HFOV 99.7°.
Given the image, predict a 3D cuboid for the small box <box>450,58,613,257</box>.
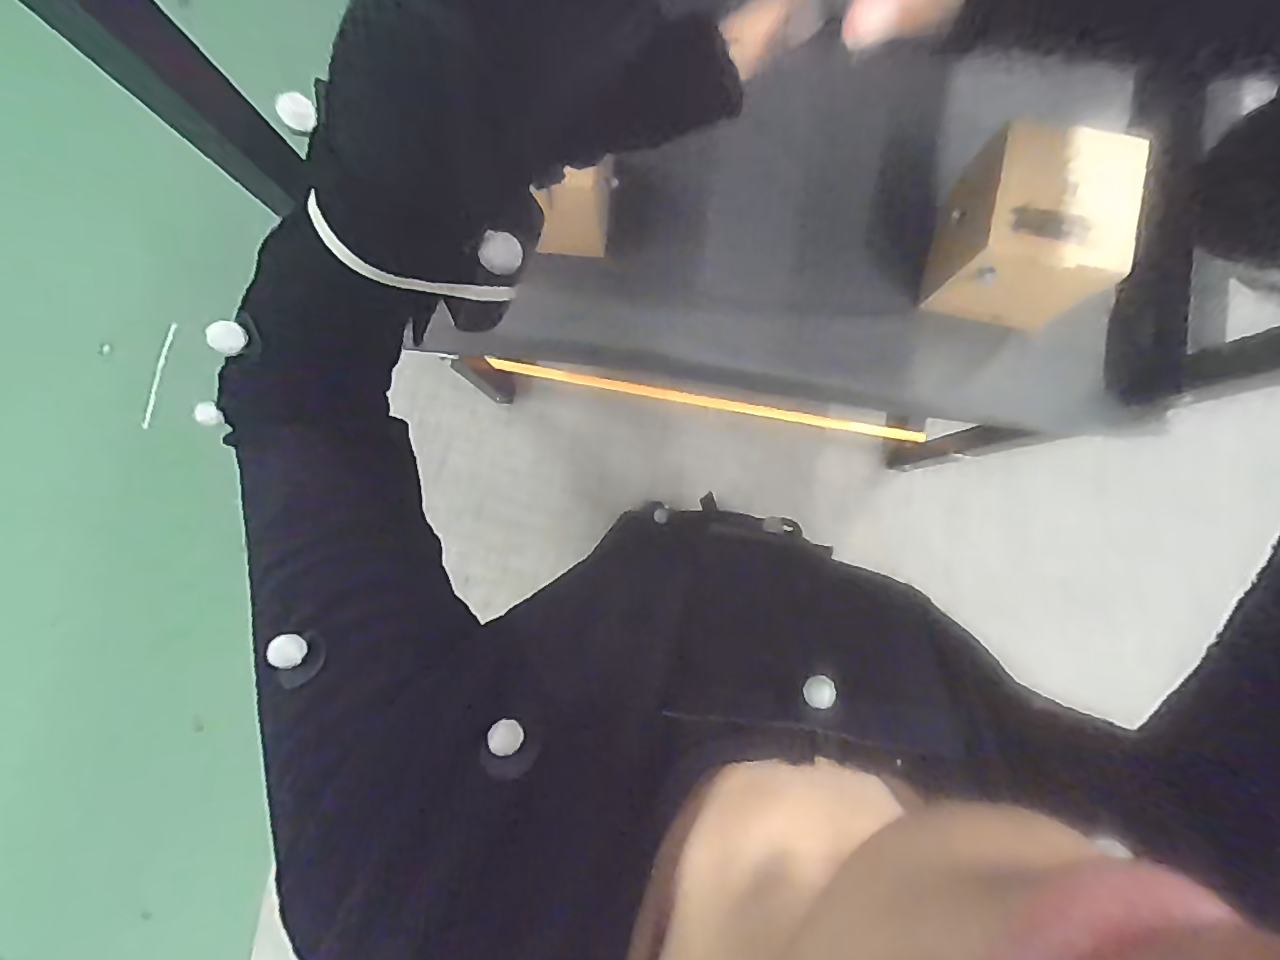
[{"bbox_3d":[-0.135,-0.425,0.737,0.179,0.176,0.168,5,85,1],"label":"small box"}]
